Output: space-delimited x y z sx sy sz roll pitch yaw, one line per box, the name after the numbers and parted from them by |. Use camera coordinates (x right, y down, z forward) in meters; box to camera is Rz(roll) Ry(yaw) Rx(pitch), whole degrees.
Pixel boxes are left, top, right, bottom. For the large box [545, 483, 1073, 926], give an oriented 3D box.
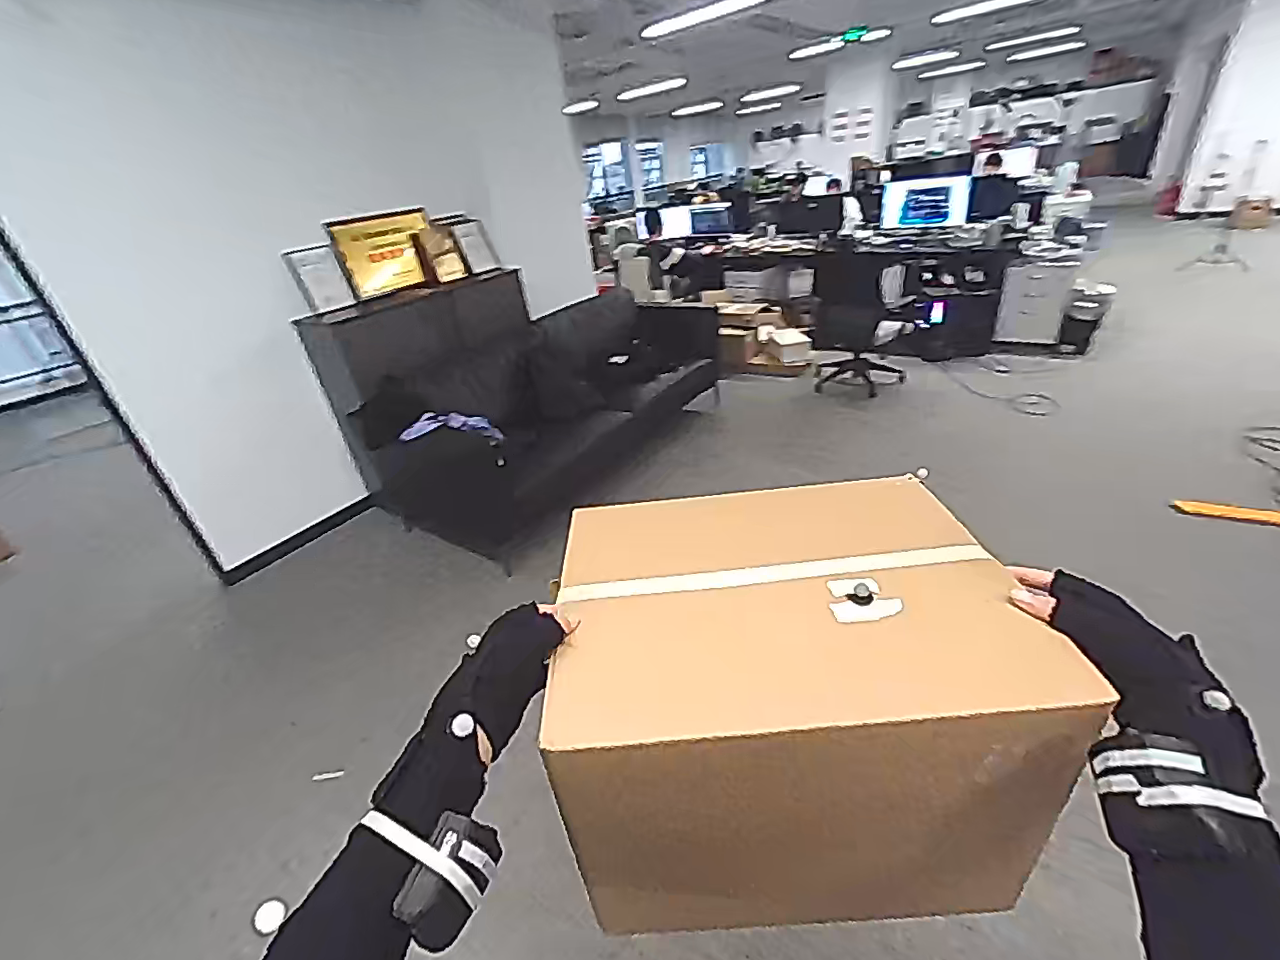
0.130 0.226 0.598 0.408 0.320 0.320 -5 30 1 | large box
